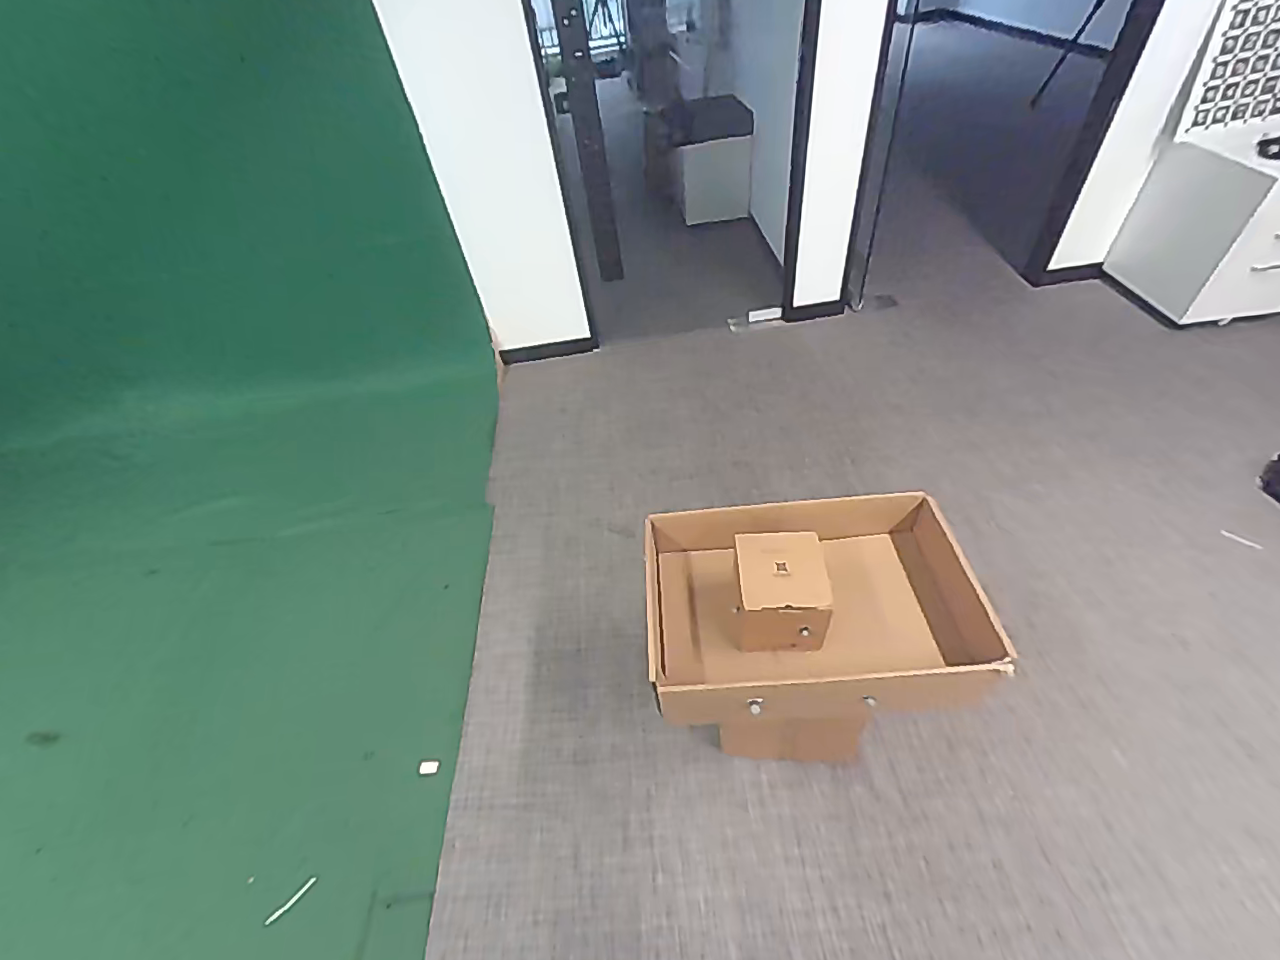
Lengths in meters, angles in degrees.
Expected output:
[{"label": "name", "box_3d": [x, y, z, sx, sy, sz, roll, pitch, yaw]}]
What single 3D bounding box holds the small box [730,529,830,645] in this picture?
[{"label": "small box", "box_3d": [0.273, 0.221, 1.095, 0.168, 0.176, 0.179, -2, 45, 3]}]
